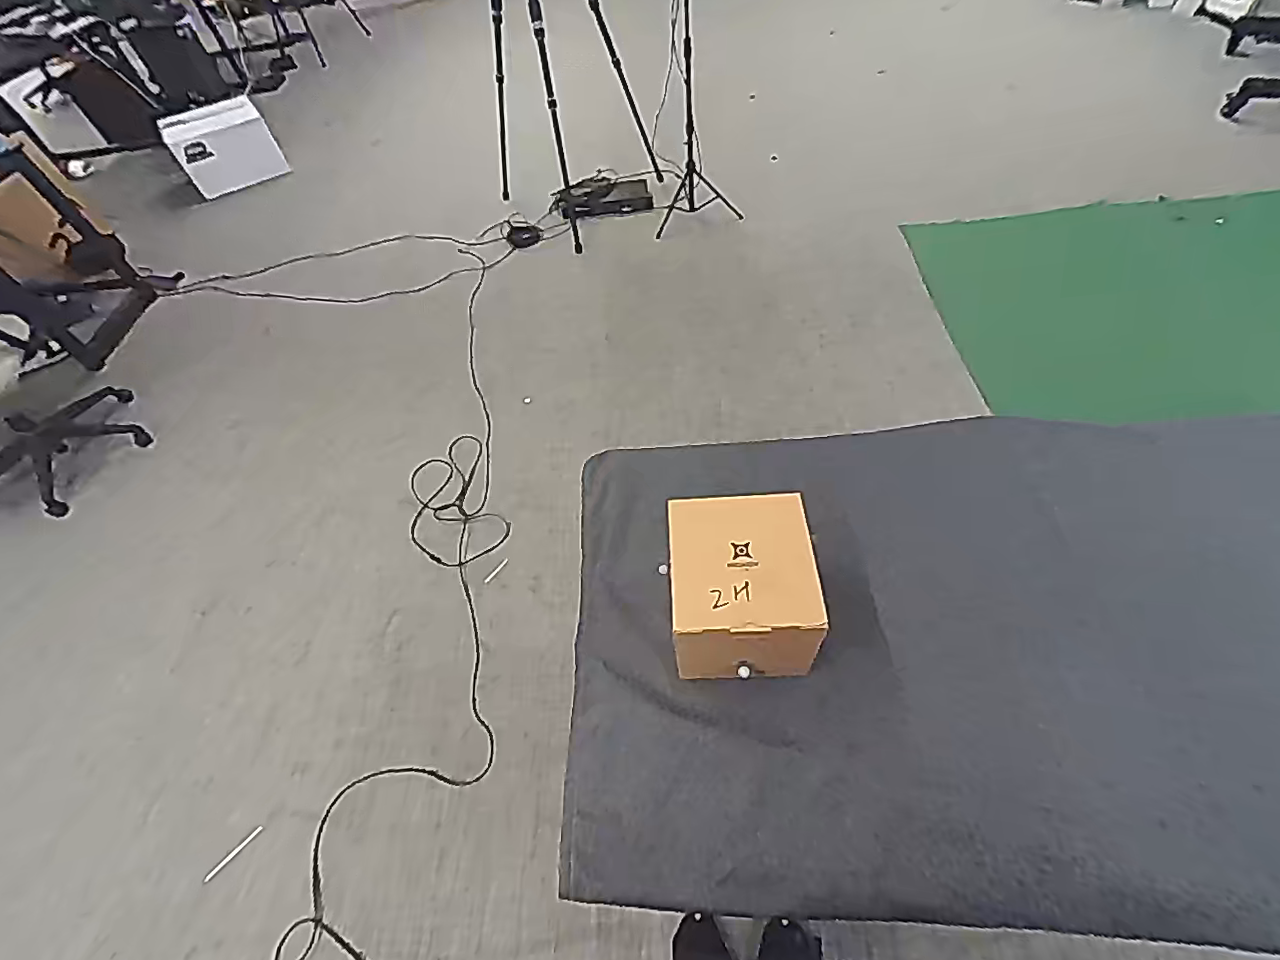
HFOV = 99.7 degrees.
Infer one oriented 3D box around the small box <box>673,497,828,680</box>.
[{"bbox_3d":[0.127,0.141,0.690,0.168,0.176,0.179,-3,53,5],"label":"small box"}]
